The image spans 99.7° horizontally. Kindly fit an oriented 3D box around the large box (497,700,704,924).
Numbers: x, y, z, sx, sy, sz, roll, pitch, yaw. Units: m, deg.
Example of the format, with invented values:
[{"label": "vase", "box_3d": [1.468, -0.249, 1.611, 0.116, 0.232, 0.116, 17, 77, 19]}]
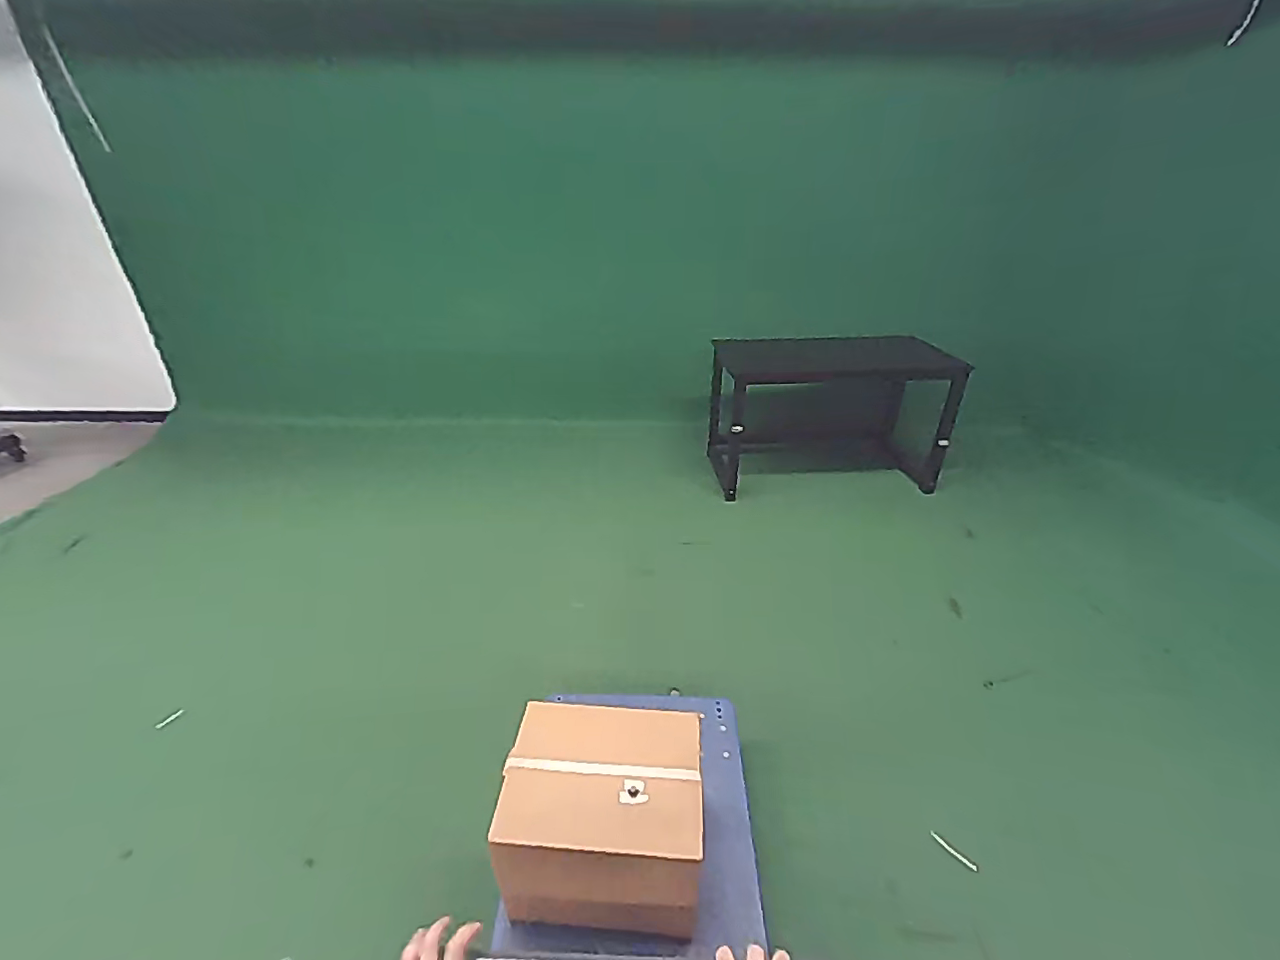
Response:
[{"label": "large box", "box_3d": [-0.073, 0.738, 1.219, 0.408, 0.320, 0.320, 3, 30, 3]}]
